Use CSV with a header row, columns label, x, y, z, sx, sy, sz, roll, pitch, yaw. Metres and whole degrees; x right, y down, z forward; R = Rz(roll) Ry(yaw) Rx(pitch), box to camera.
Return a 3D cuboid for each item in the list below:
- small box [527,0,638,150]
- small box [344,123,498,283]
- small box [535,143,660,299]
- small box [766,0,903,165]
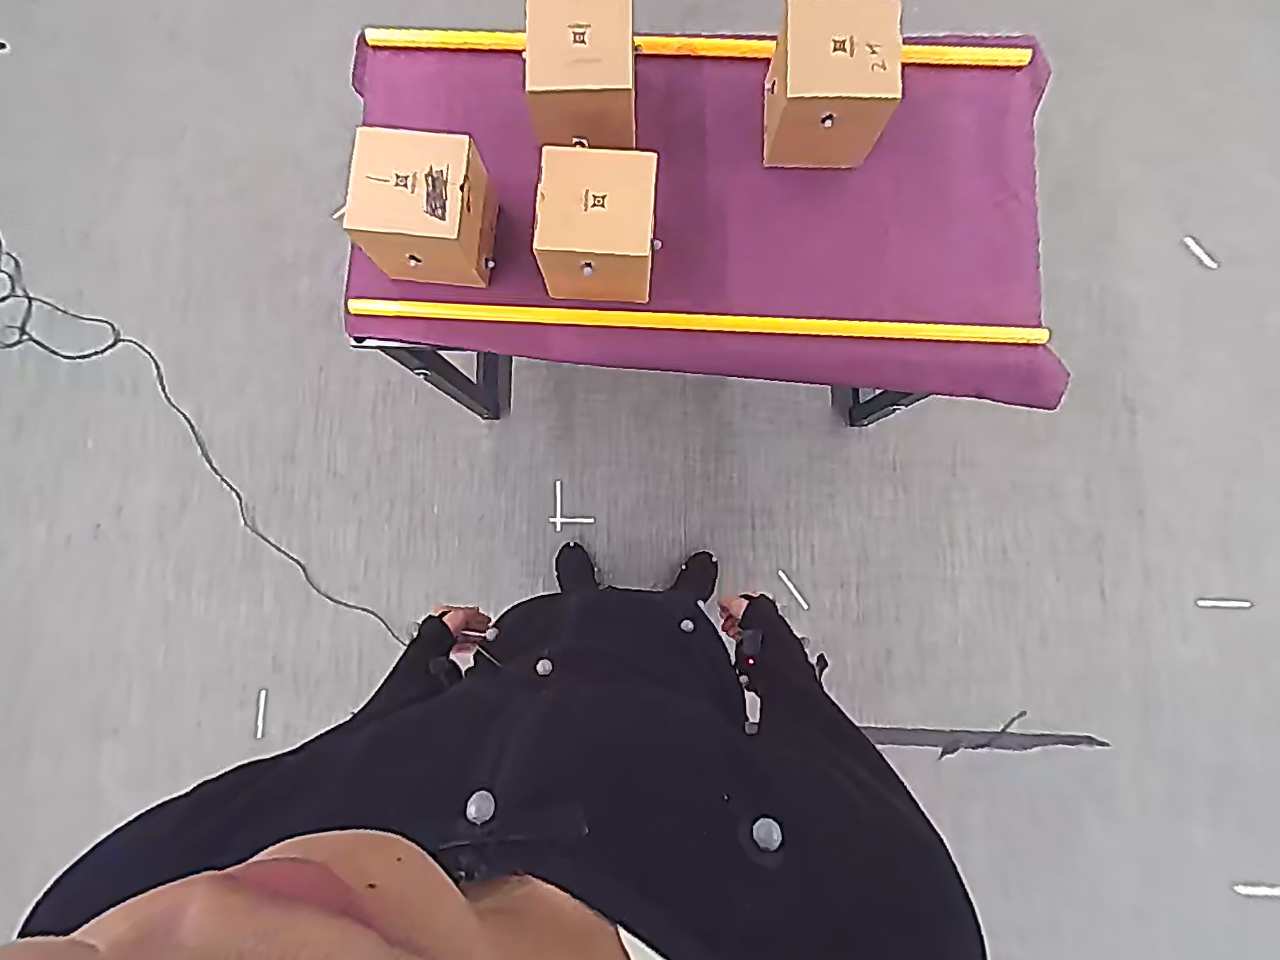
label,x,y,z,sx,sy,sz,roll,pitch,yaw
small box,-0.090,-0.677,0.903,0.168,0.176,0.179,-1,86,1
small box,-0.344,-0.439,0.883,0.179,0.176,0.168,6,85,1
small box,-0.062,-0.409,0.881,0.179,0.176,0.168,4,85,2
small box,0.311,-0.652,0.896,0.179,0.176,0.168,2,87,1
